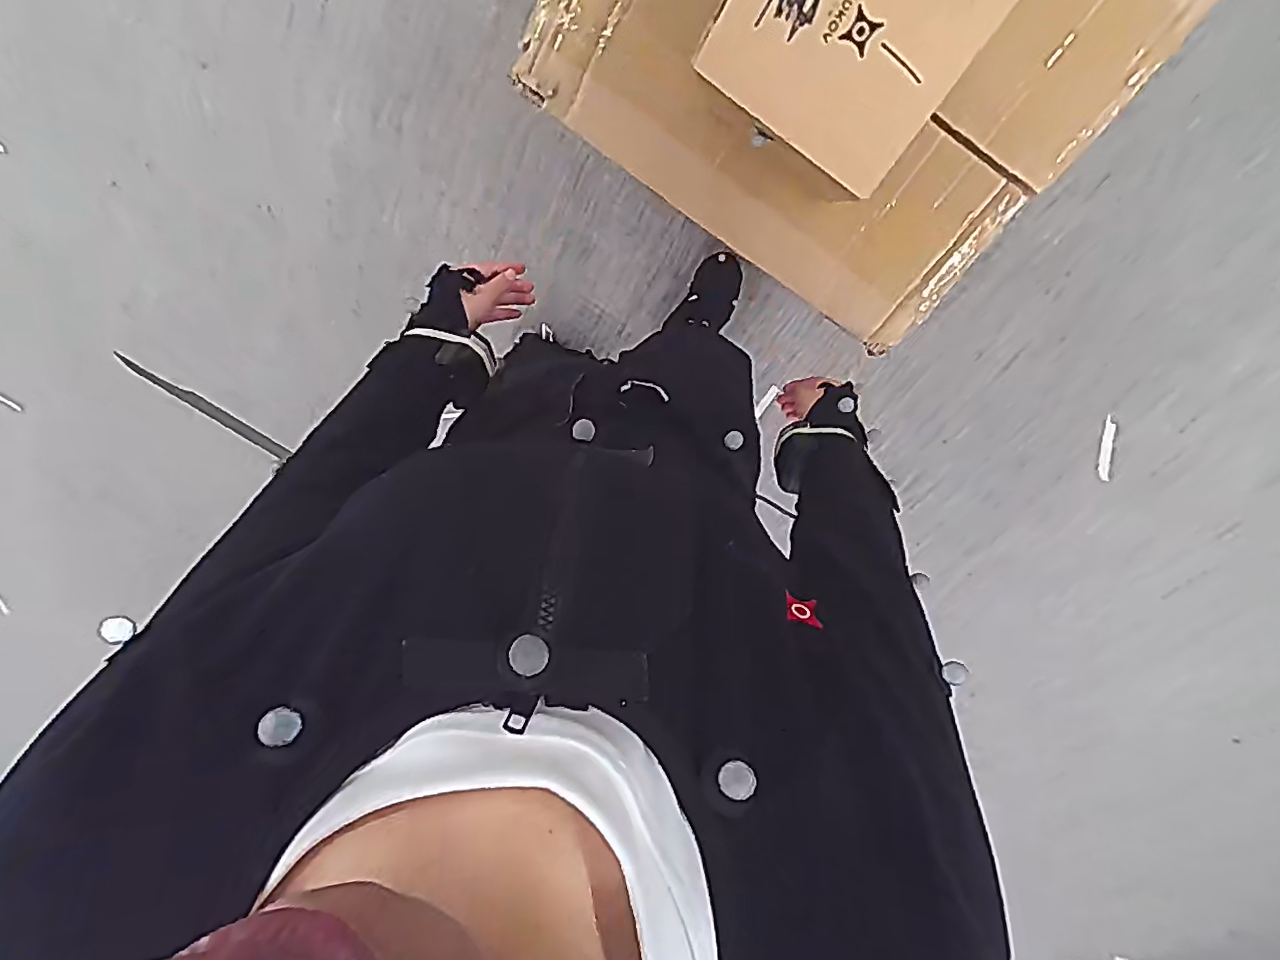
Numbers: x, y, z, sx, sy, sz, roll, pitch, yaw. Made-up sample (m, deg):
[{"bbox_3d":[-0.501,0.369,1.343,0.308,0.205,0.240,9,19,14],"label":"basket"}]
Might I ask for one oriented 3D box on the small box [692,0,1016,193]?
[{"bbox_3d":[0.165,-0.366,0.458,0.179,0.176,0.168,34,118,-7],"label":"small box"}]
